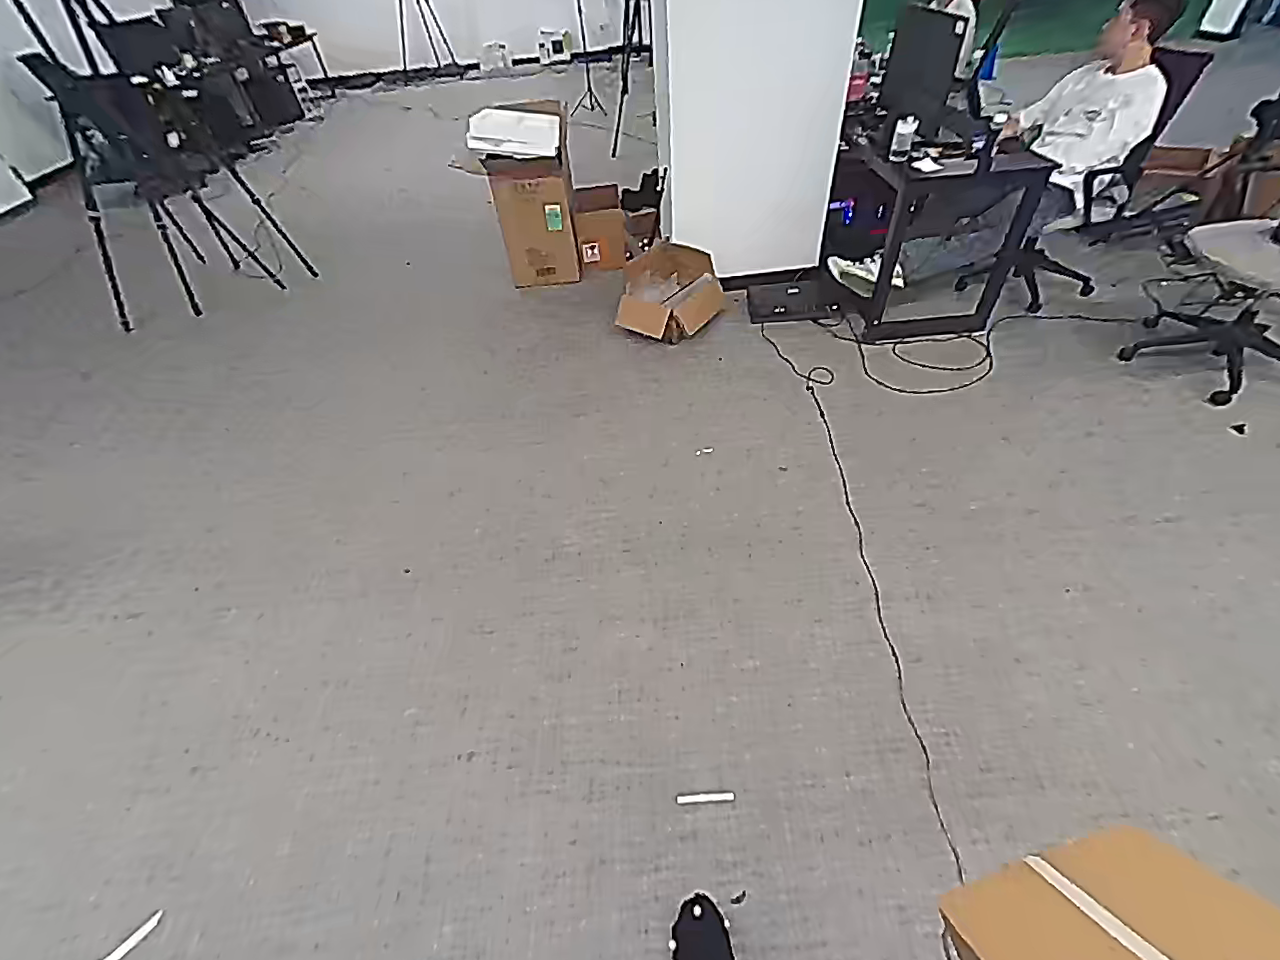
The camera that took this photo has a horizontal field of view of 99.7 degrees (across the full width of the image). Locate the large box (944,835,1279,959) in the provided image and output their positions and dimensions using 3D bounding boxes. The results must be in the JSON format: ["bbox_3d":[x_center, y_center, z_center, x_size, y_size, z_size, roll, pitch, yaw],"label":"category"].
[{"bbox_3d":[0.631,0.687,0.579,0.320,0.408,0.320,-20,84,-2],"label":"large box"}]
